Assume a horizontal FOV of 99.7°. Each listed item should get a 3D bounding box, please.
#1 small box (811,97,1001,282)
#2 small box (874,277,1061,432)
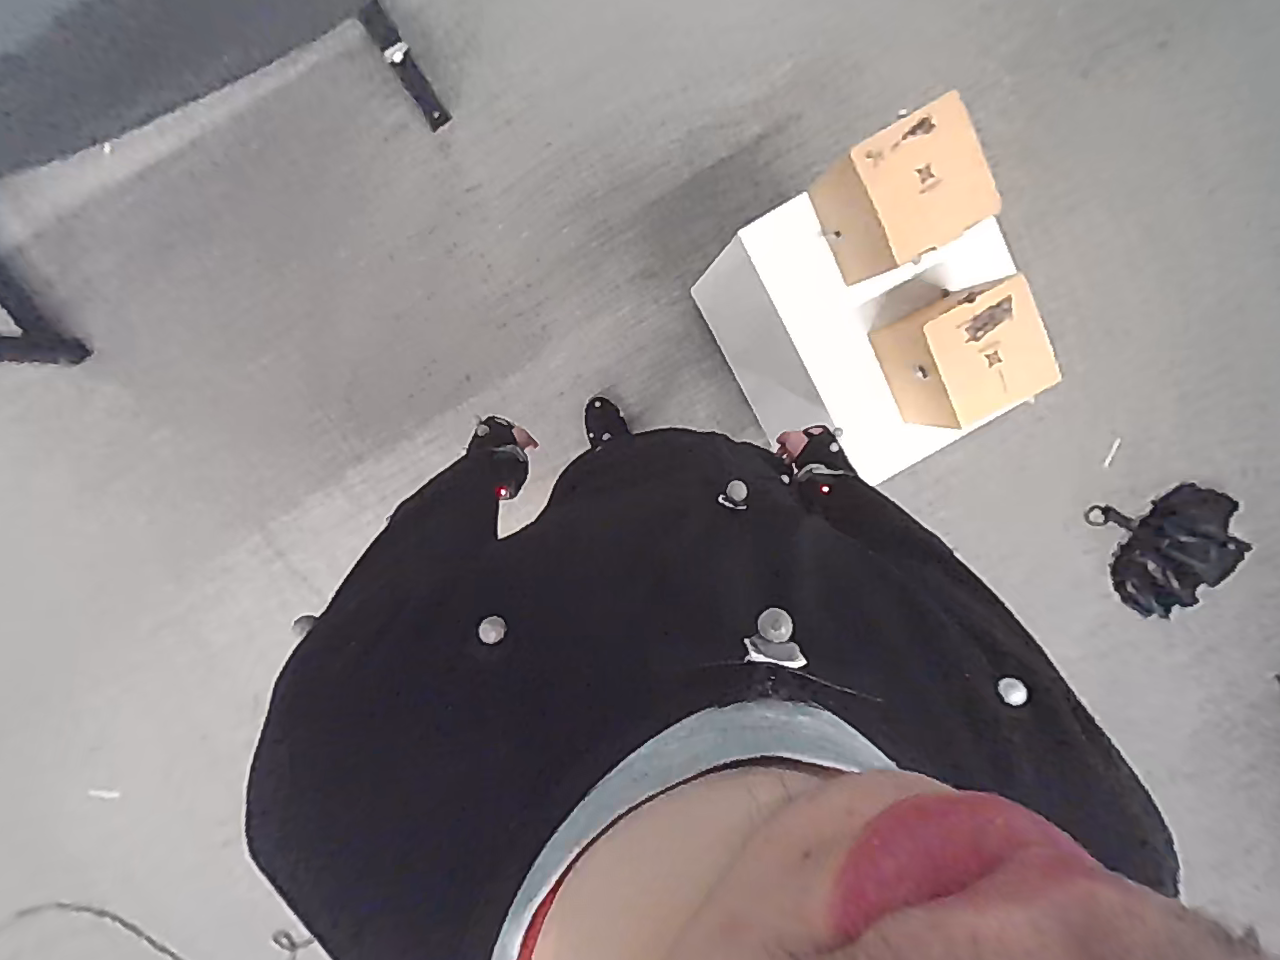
[{"bbox_3d":[0.389,-0.418,0.819,0.168,0.176,0.179,-29,102,2],"label":"small box"},{"bbox_3d":[0.508,-0.192,0.863,0.168,0.176,0.179,-27,100,2],"label":"small box"}]
